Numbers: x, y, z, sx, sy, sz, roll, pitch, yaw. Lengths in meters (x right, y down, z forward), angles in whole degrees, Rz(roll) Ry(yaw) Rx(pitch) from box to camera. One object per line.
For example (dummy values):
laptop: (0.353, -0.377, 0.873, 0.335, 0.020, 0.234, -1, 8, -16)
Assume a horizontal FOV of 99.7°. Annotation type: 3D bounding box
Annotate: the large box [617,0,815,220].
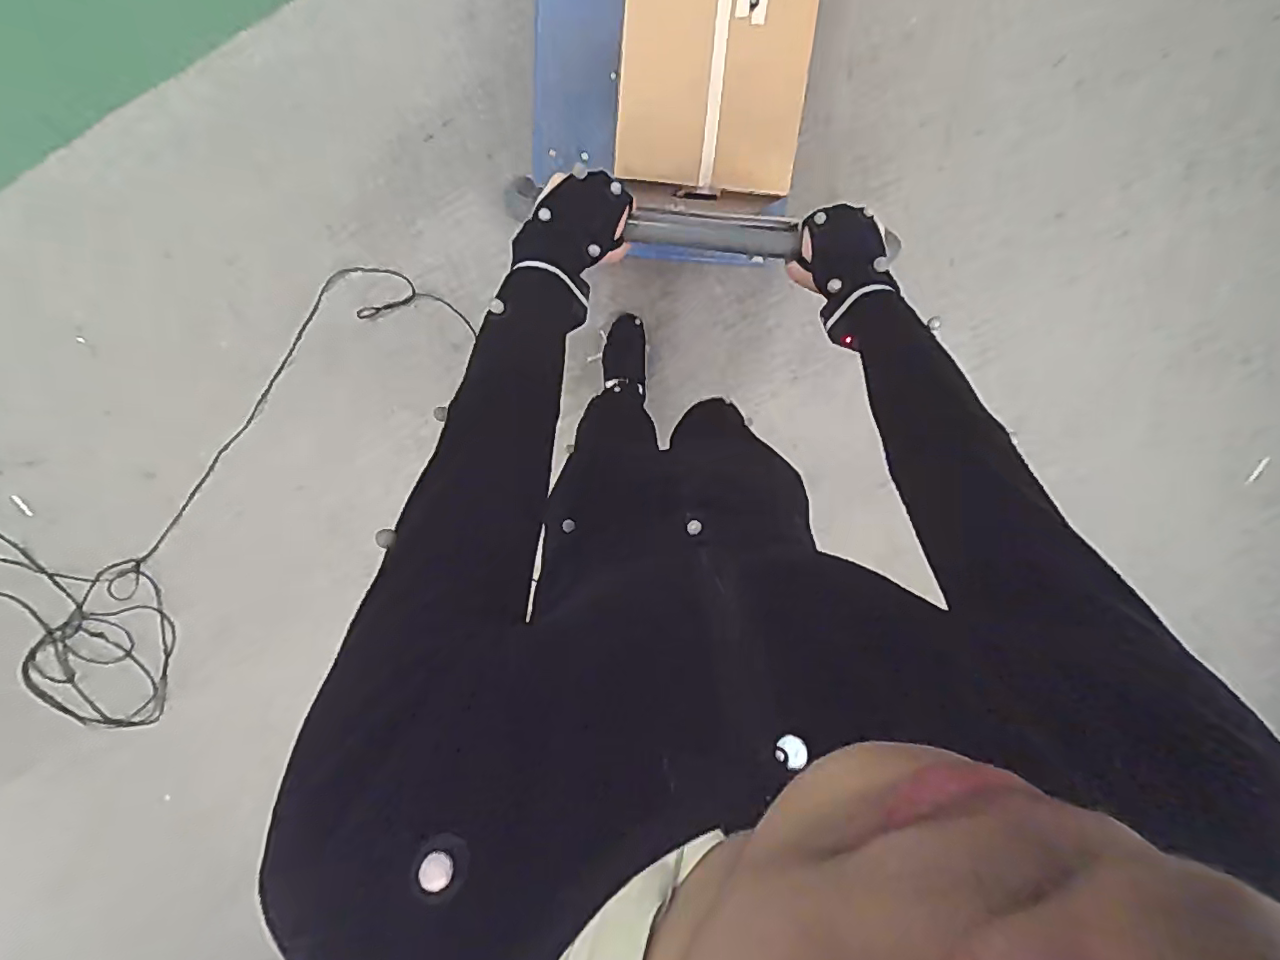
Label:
large box: (0.120, -0.753, 1.048, 0.320, 0.320, 0.408, 3, 108, -5)
